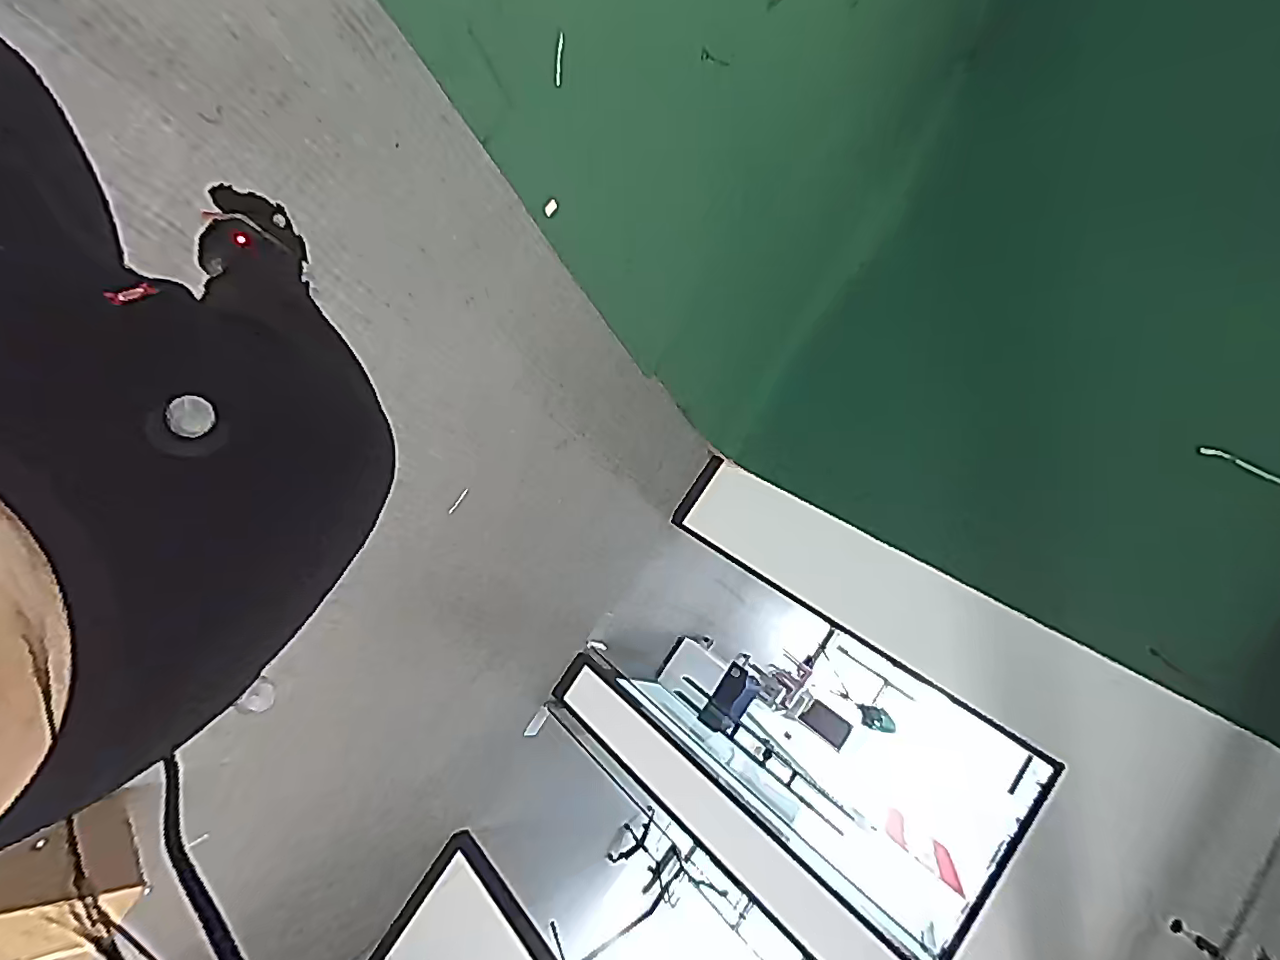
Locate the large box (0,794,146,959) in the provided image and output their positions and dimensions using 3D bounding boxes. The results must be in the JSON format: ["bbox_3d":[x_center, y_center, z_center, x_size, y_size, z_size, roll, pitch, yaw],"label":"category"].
[{"bbox_3d":[-1.537,1.006,1.280,0.320,0.320,0.408,-54,148,-6],"label":"large box"}]
